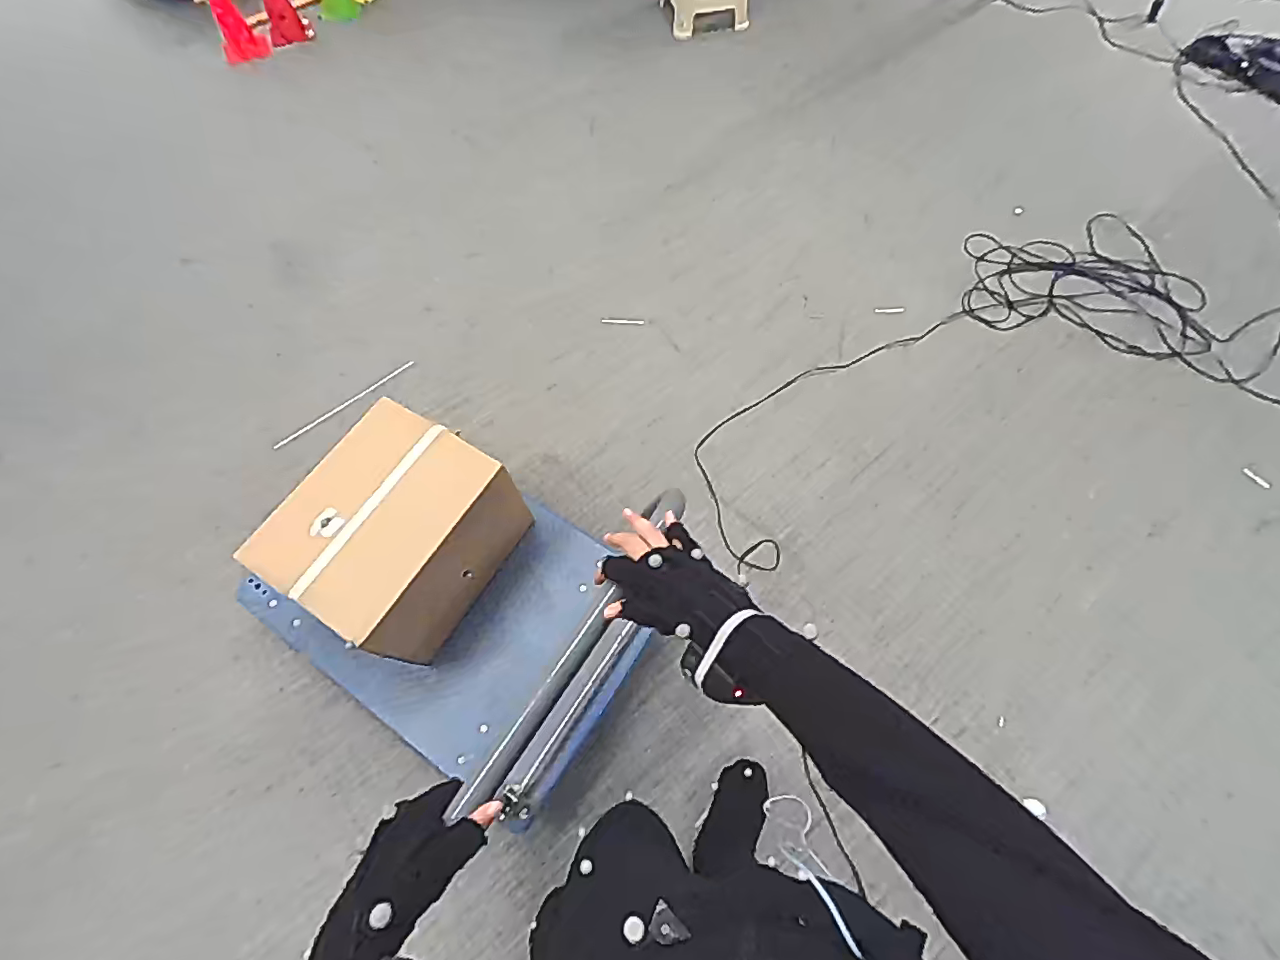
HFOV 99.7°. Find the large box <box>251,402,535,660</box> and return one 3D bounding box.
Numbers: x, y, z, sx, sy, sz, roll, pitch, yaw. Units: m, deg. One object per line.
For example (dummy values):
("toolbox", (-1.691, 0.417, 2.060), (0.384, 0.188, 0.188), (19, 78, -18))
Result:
("large box", (-0.485, 0.118, 1.160), (0.320, 0.320, 0.408), (28, 70, 14))
